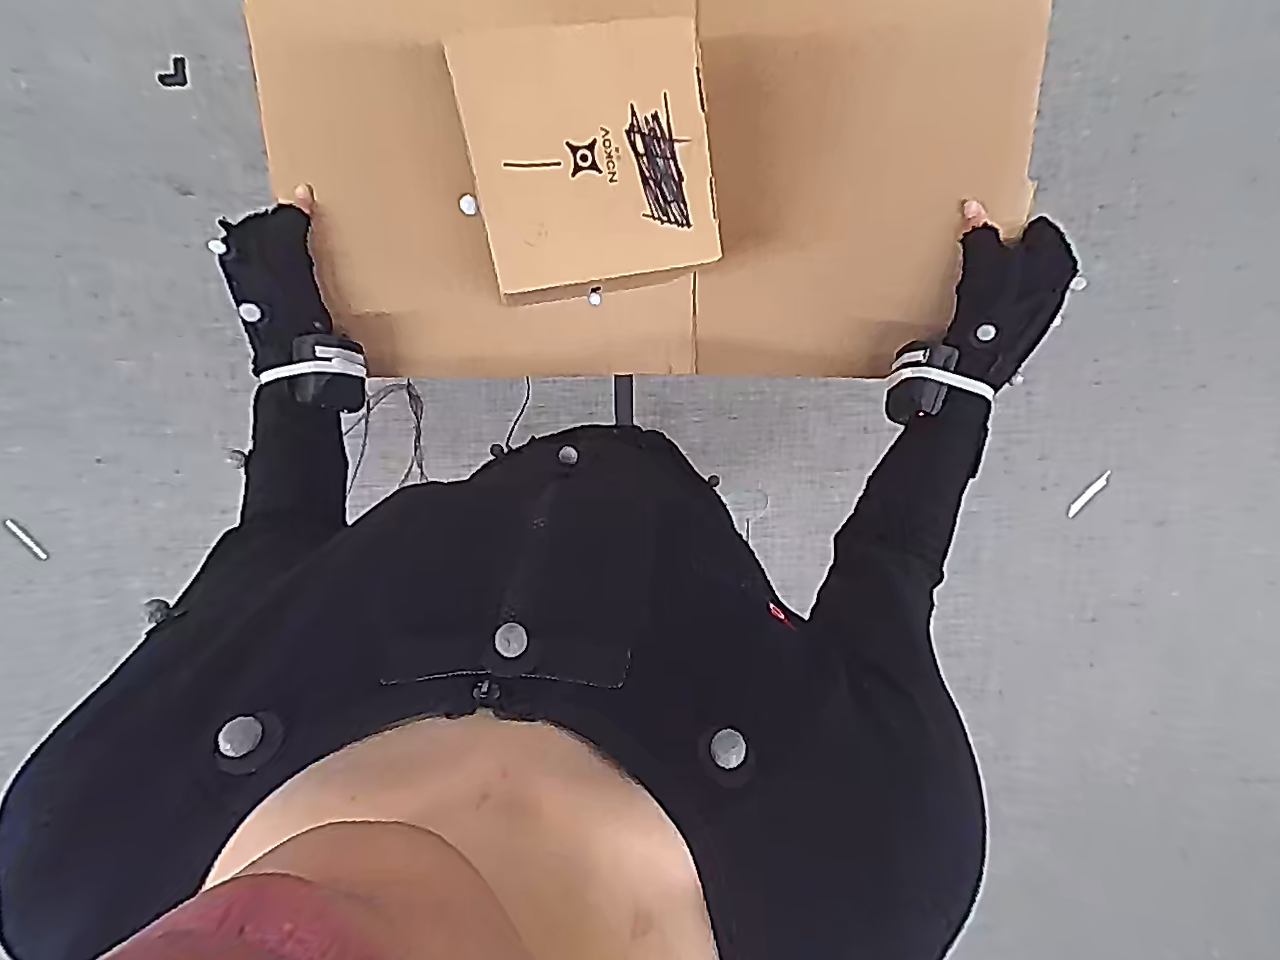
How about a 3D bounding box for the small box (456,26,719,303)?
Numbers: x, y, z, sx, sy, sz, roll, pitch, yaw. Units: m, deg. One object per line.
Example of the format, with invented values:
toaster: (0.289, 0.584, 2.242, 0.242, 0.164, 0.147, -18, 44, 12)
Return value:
small box: (-0.048, -0.256, 0.477, 0.179, 0.176, 0.168, -12, 106, -9)
